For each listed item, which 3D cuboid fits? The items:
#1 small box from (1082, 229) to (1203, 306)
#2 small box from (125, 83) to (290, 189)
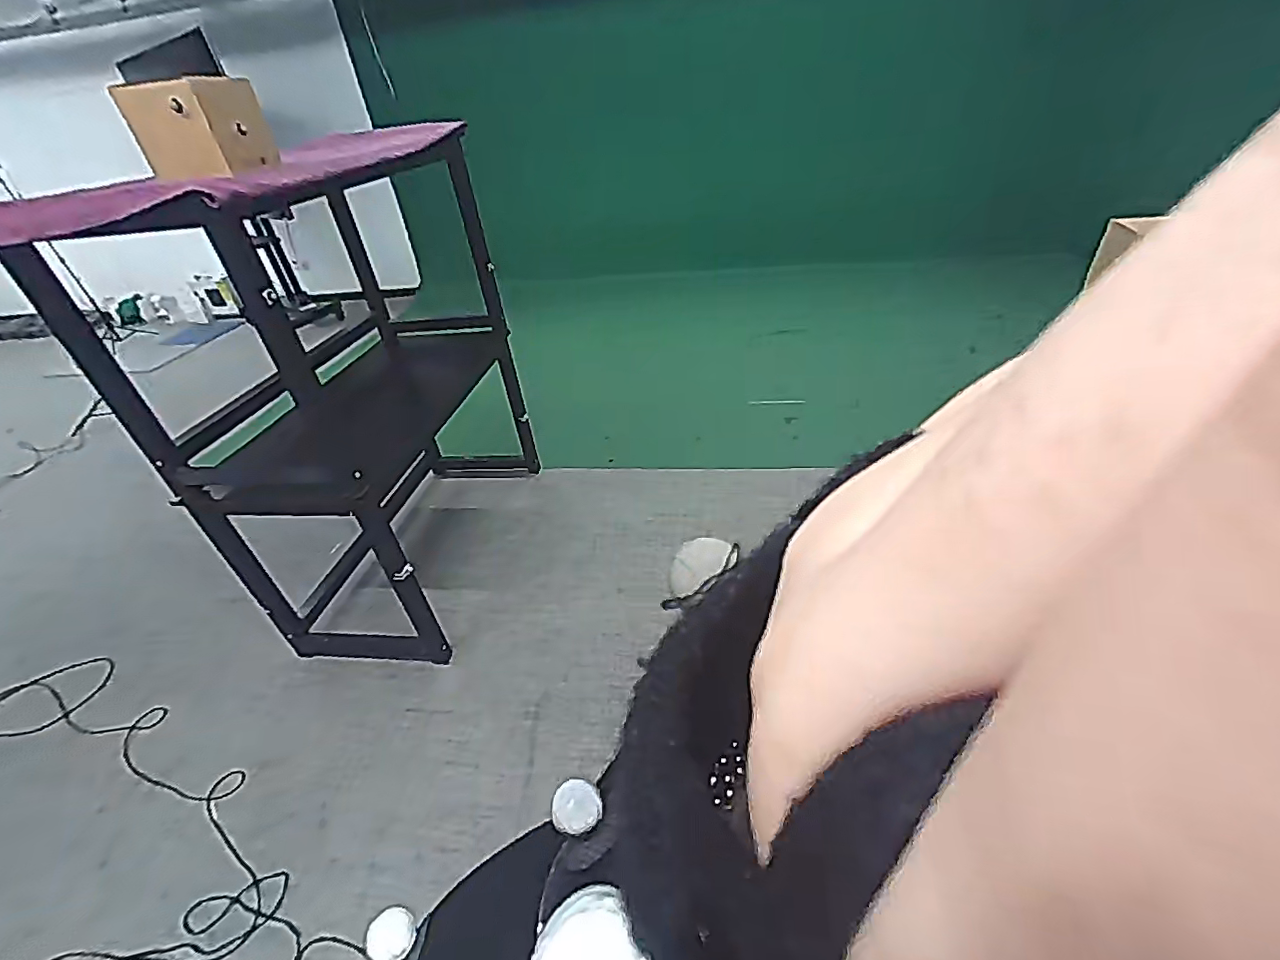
[{"bbox_3d":[1.424,-0.605,1.548,0.168,0.176,0.179,2,38,9],"label":"small box"},{"bbox_3d":[-0.886,-0.719,1.131,0.179,0.176,0.168,0,35,8],"label":"small box"}]
